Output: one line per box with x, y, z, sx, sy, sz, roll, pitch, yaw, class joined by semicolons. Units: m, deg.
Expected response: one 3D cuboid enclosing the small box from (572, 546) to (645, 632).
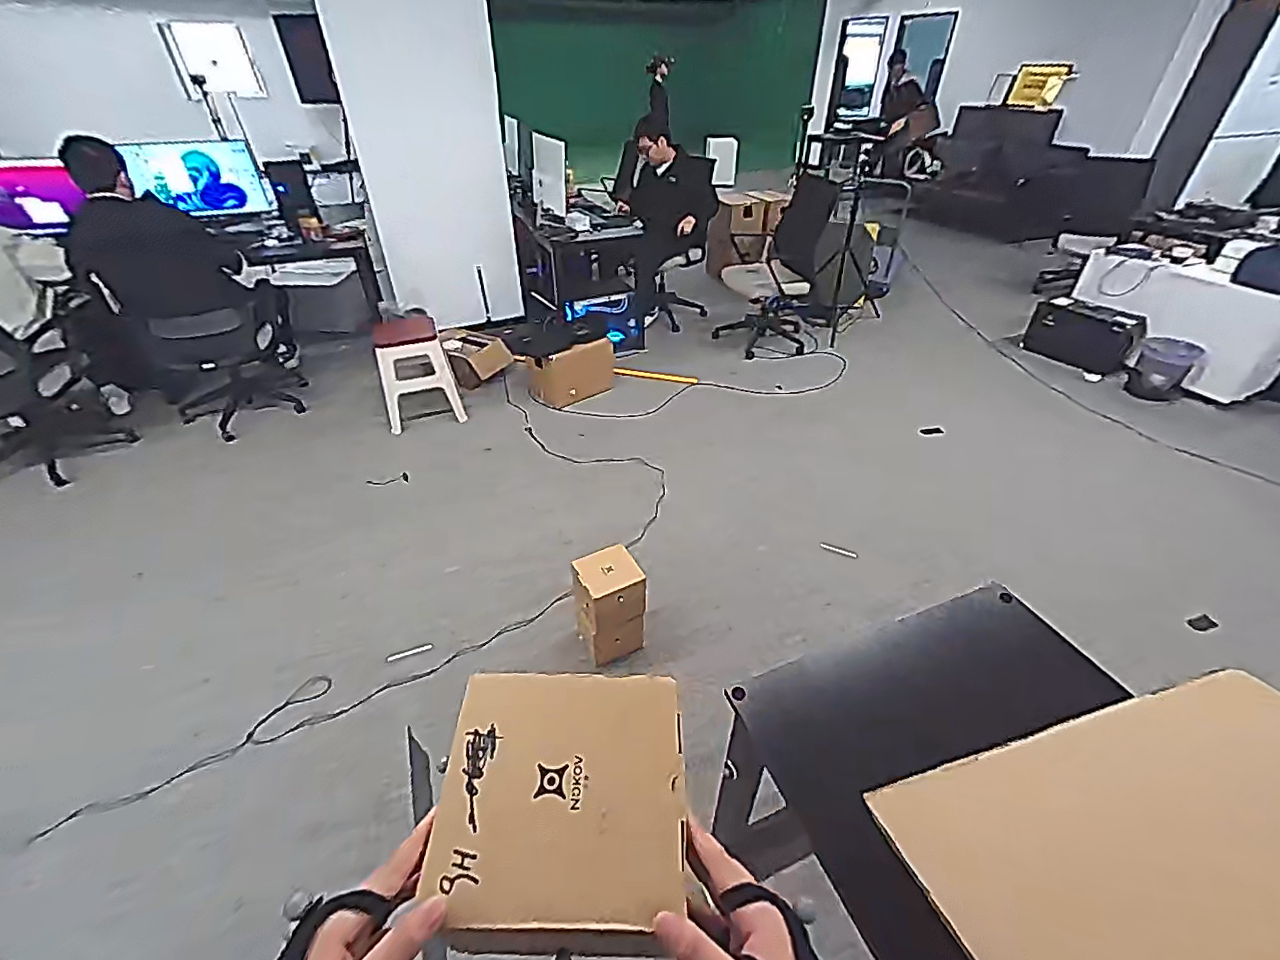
-0.096;0.340;1.675;0.179;0.176;0.168;-18;42;-23;small box

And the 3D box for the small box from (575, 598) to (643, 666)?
-0.102;0.472;1.772;0.179;0.176;0.168;-17;41;-20;small box

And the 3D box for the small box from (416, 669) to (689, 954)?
-0.058;0.278;0.454;0.179;0.176;0.168;2;43;-1;small box
